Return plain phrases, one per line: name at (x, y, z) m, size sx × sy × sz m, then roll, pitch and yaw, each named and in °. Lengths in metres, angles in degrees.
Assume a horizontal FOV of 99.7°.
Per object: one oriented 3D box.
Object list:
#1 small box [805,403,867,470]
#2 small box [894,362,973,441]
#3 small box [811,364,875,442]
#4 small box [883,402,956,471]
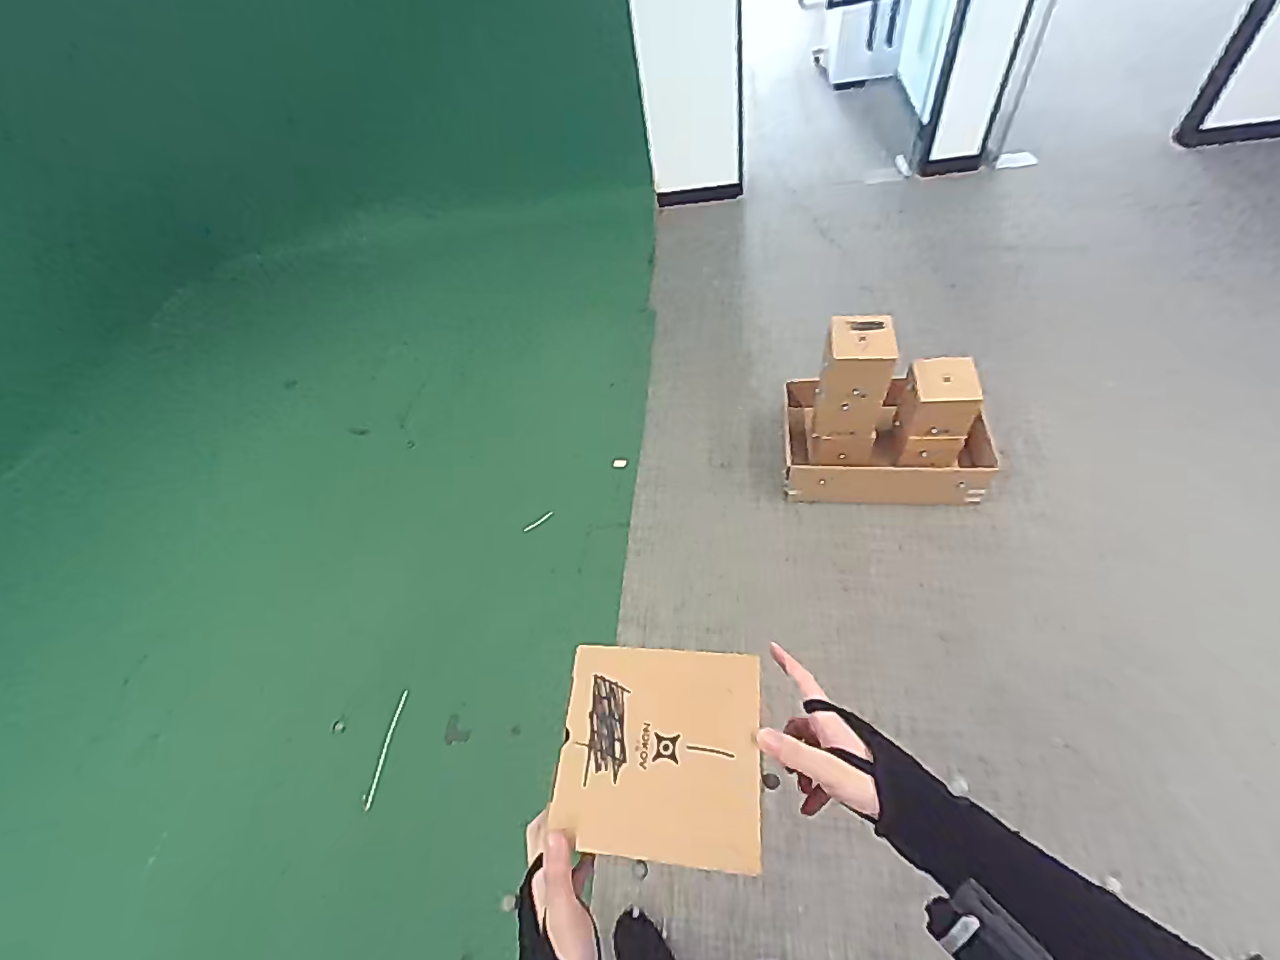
small box at (0.658, -0.146, 1.831) m, size 0.168 × 0.176 × 0.179 m, roll 0°, pitch 55°, yaw 8°
small box at (0.889, -0.240, 1.657) m, size 0.168 × 0.176 × 0.179 m, roll 1°, pitch 55°, yaw 13°
small box at (0.631, -0.243, 1.701) m, size 0.168 × 0.176 × 0.179 m, roll 4°, pitch 54°, yaw 13°
small box at (0.915, -0.143, 1.785) m, size 0.168 × 0.176 × 0.179 m, roll 0°, pitch 55°, yaw 10°
